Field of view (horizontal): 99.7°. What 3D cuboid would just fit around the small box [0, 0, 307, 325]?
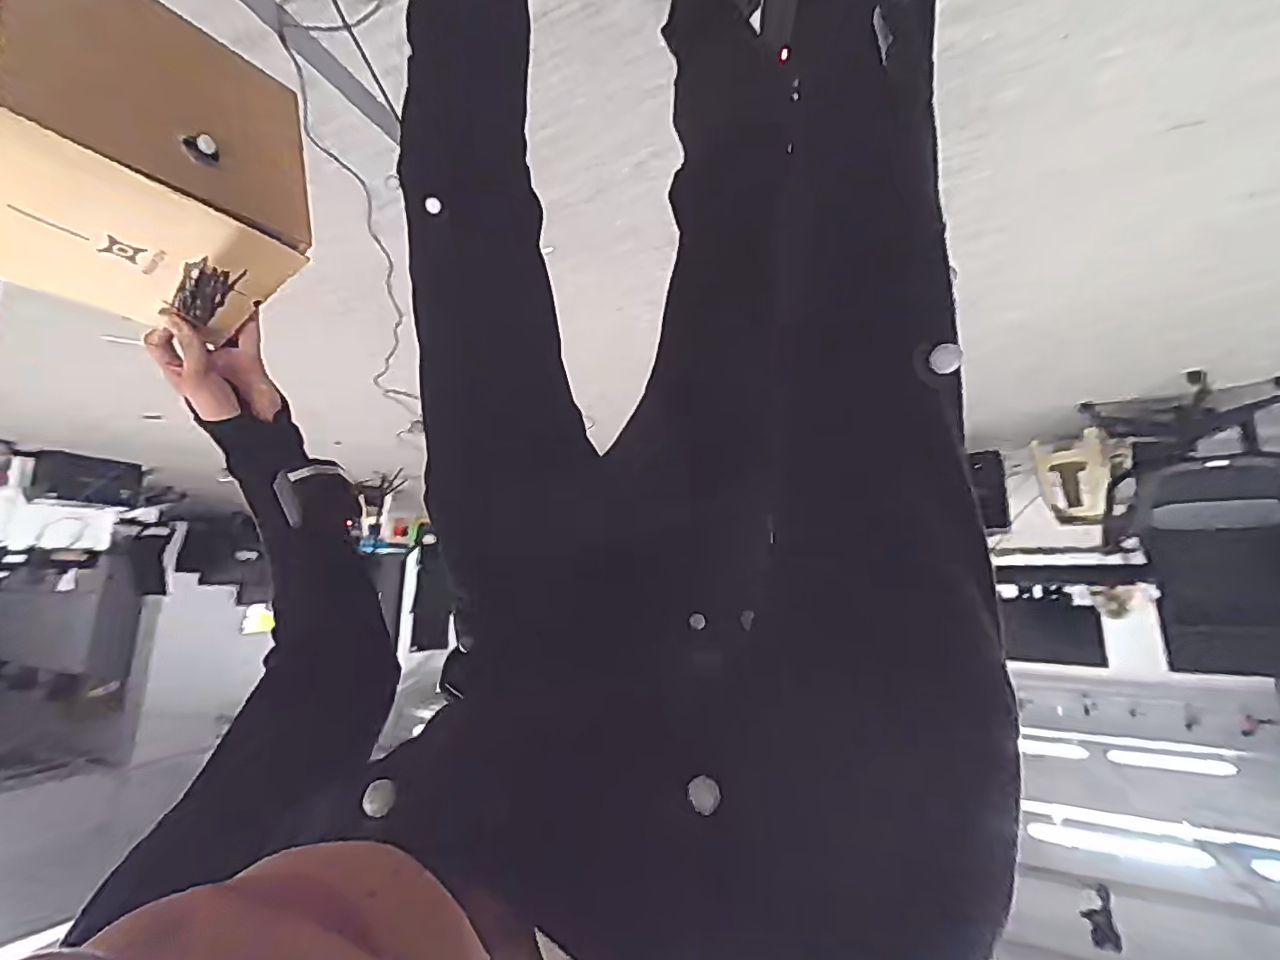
[{"bbox_3d":[-0.396,-0.256,0.422,0.168,0.176,0.179,-22,163,28],"label":"small box"}]
